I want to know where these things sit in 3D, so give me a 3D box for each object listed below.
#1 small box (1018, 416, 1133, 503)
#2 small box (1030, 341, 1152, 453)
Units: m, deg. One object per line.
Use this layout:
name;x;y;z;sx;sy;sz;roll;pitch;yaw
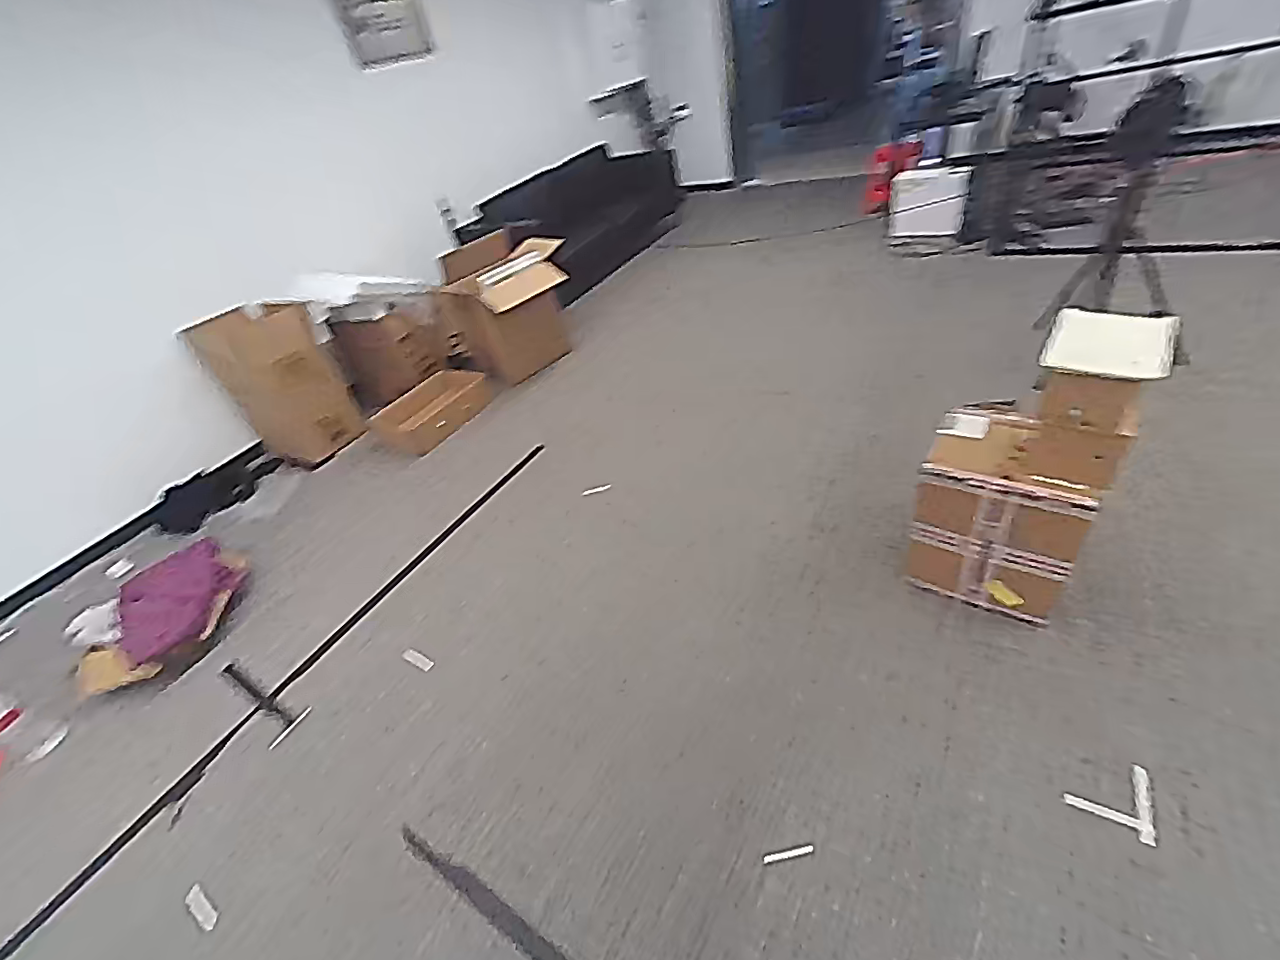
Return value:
small box;1.072;-0.067;1.336;0.179;0.176;0.168;17;48;32
small box;1.026;-0.193;1.239;0.168;0.176;0.179;21;52;33
